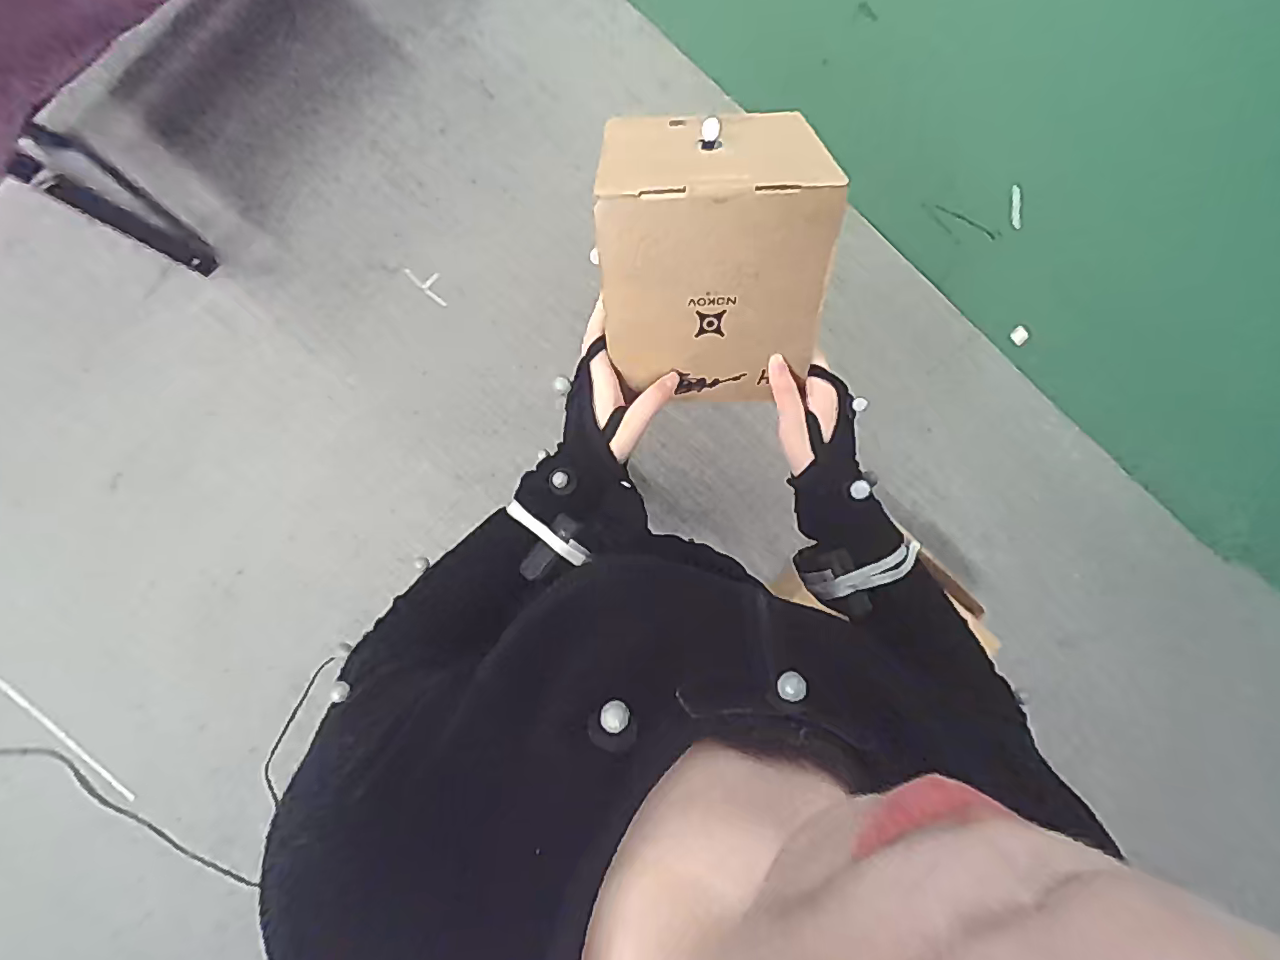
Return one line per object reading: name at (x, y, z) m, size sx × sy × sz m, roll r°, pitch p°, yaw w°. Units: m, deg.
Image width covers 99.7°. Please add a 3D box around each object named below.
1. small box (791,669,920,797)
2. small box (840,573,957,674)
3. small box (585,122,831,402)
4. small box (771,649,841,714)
small box at (0.469, 0.550, 1.209) m, size 0.179 × 0.176 × 0.168 m, roll 44°, pitch 87°, yaw 0°
small box at (0.651, 0.356, 1.387) m, size 0.168 × 0.176 × 0.179 m, roll -43°, pitch 90°, yaw -2°
small box at (0.046, -0.189, 0.464) m, size 0.168 × 0.179 × 0.176 m, roll -1°, pitch 47°, yaw 2°
small box at (0.462, 0.555, 1.374) m, size 0.179 × 0.176 × 0.168 m, roll 43°, pitch 87°, yaw 0°
